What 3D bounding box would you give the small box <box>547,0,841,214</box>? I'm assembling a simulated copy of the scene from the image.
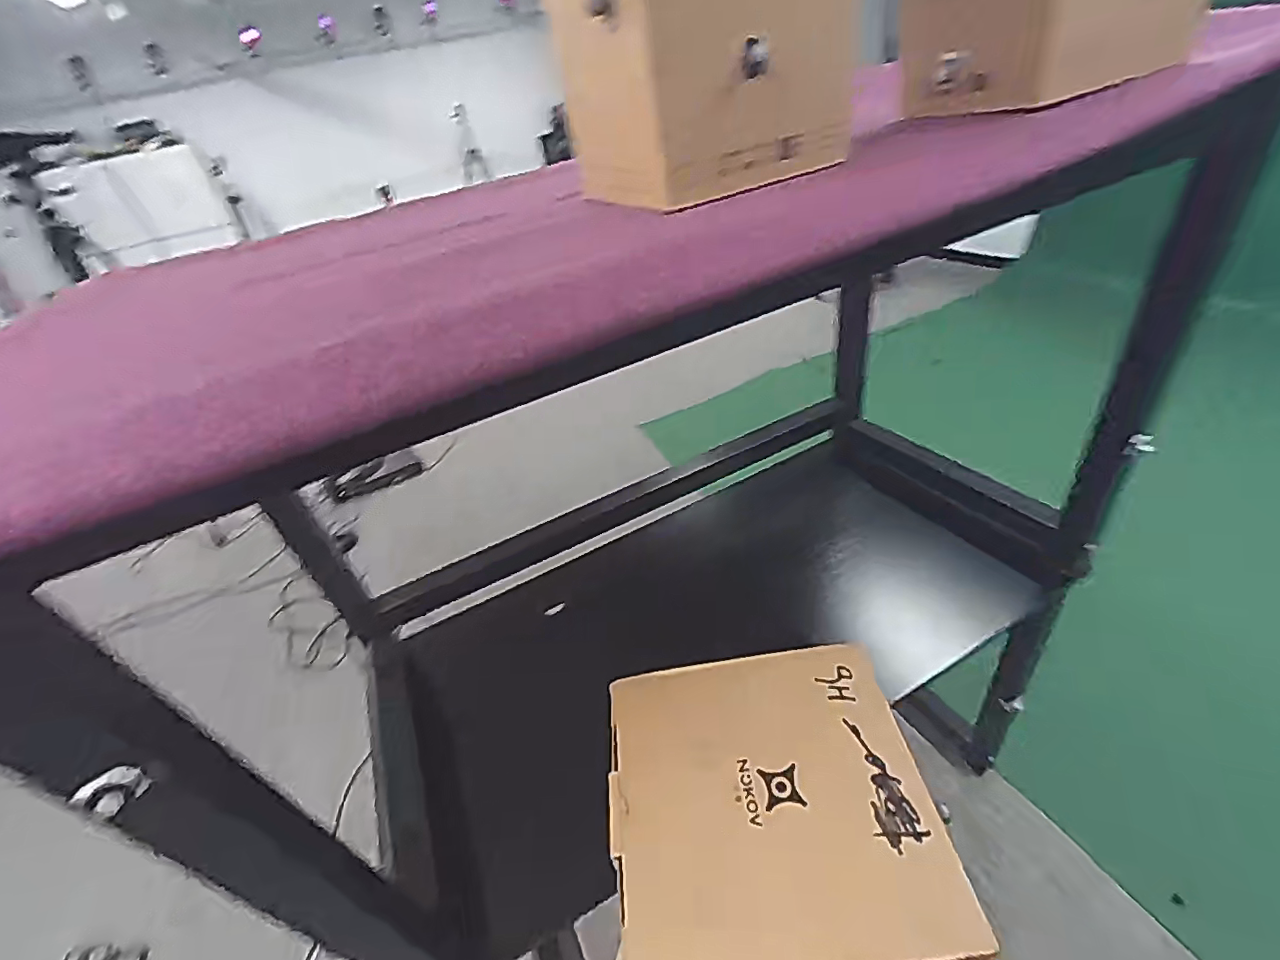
[{"bbox_3d":[0.044,-0.324,0.433,0.168,0.176,0.179,-23,37,-16],"label":"small box"}]
